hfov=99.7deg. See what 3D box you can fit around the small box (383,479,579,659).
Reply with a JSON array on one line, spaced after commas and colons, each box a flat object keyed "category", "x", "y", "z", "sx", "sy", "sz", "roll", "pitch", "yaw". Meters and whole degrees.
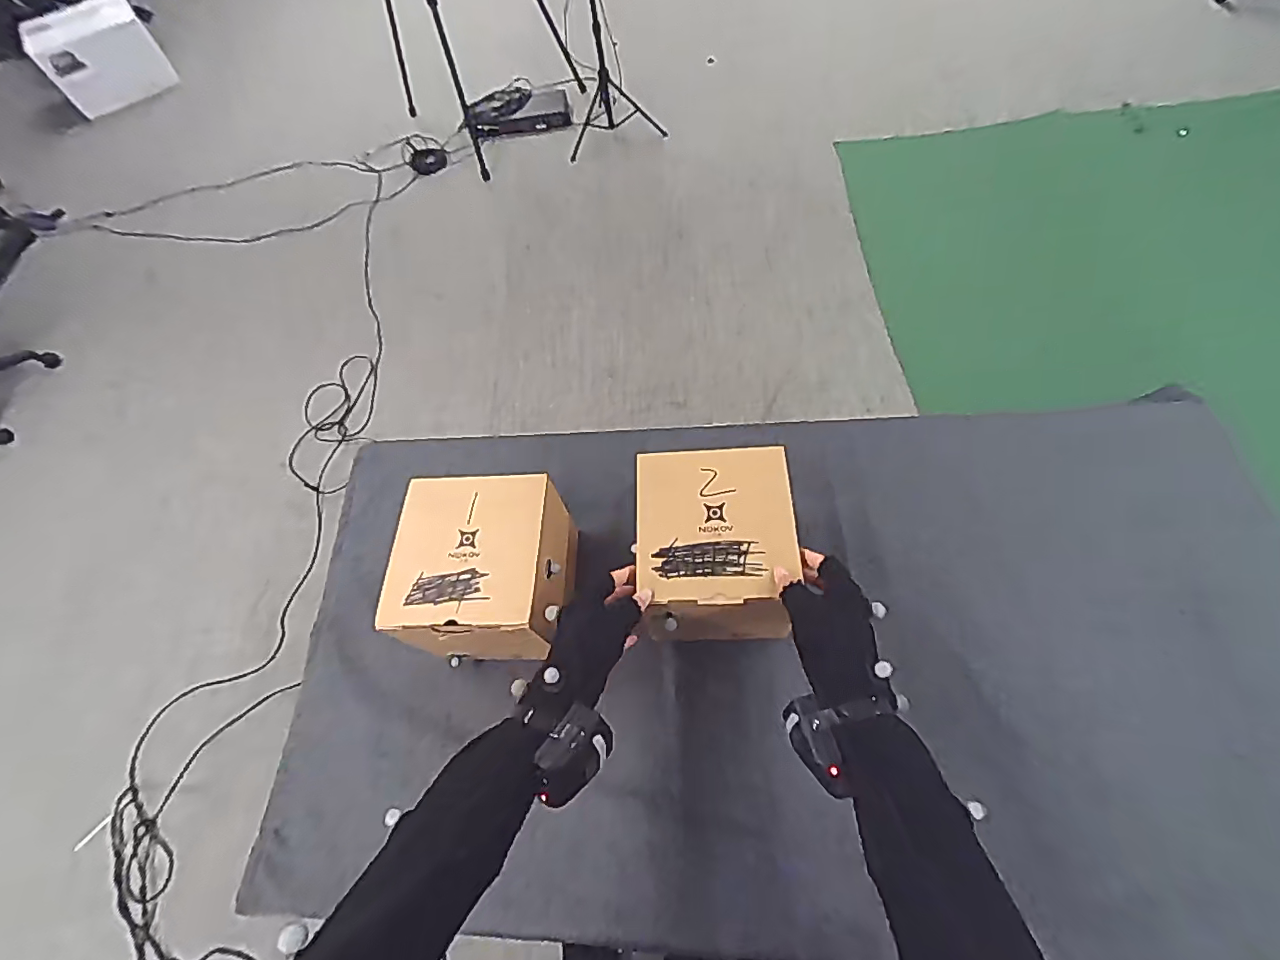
[{"category": "small box", "x": -0.175, "y": 0.116, "z": 0.658, "sx": 0.168, "sy": 0.176, "sz": 0.179, "roll": -2, "pitch": 60, "yaw": 6}]
